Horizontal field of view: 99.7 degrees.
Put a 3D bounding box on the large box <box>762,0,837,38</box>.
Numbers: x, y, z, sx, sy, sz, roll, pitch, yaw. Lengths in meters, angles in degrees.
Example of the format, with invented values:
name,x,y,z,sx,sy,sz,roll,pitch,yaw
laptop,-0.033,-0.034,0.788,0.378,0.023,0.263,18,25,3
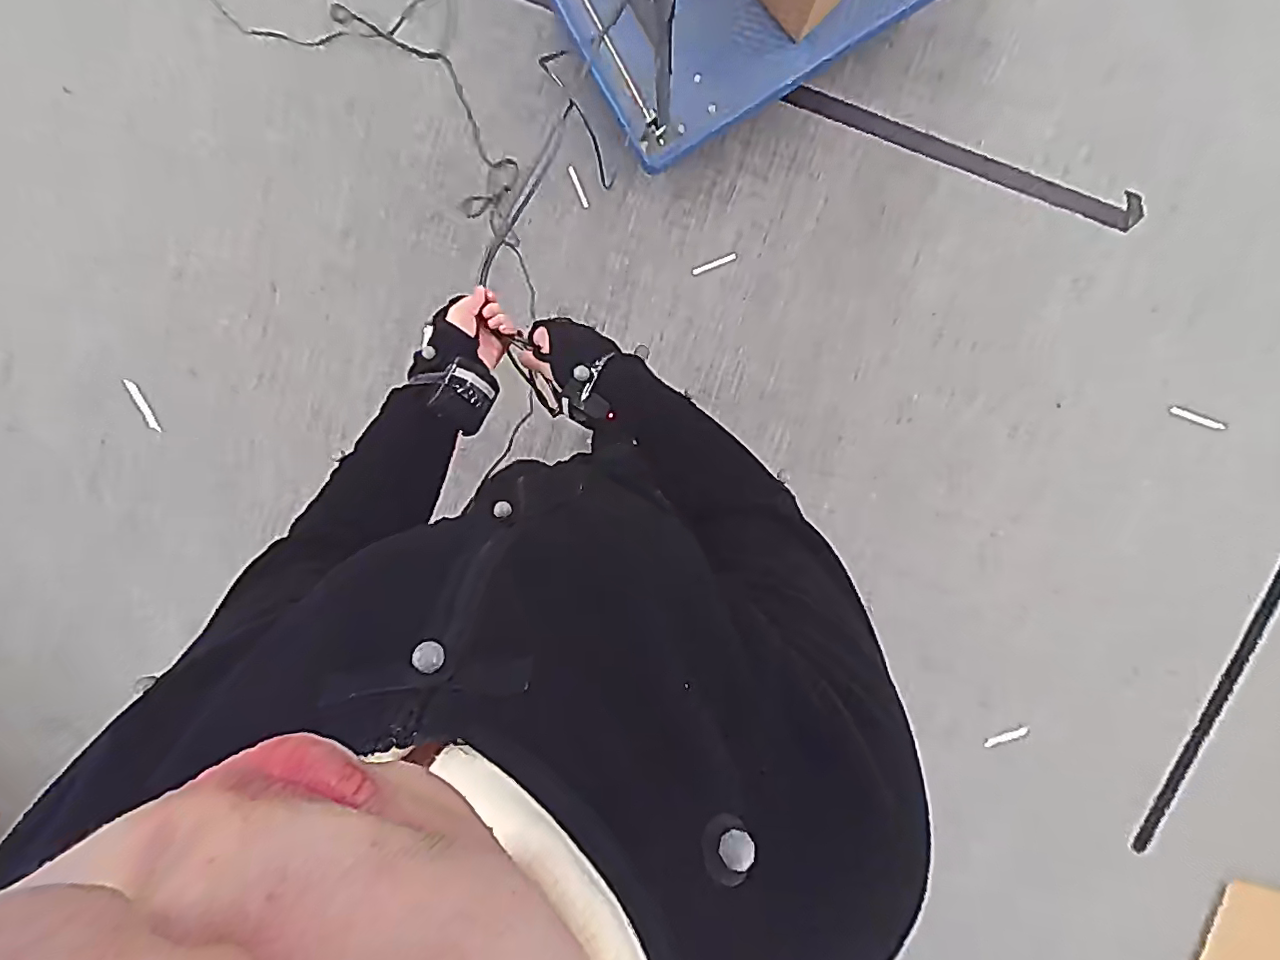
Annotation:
name,x,y,z,sx,sy,sz,roll,pitch,yaw
large box,0.306,-1.165,0.983,0.320,0.320,0.408,-44,96,7
